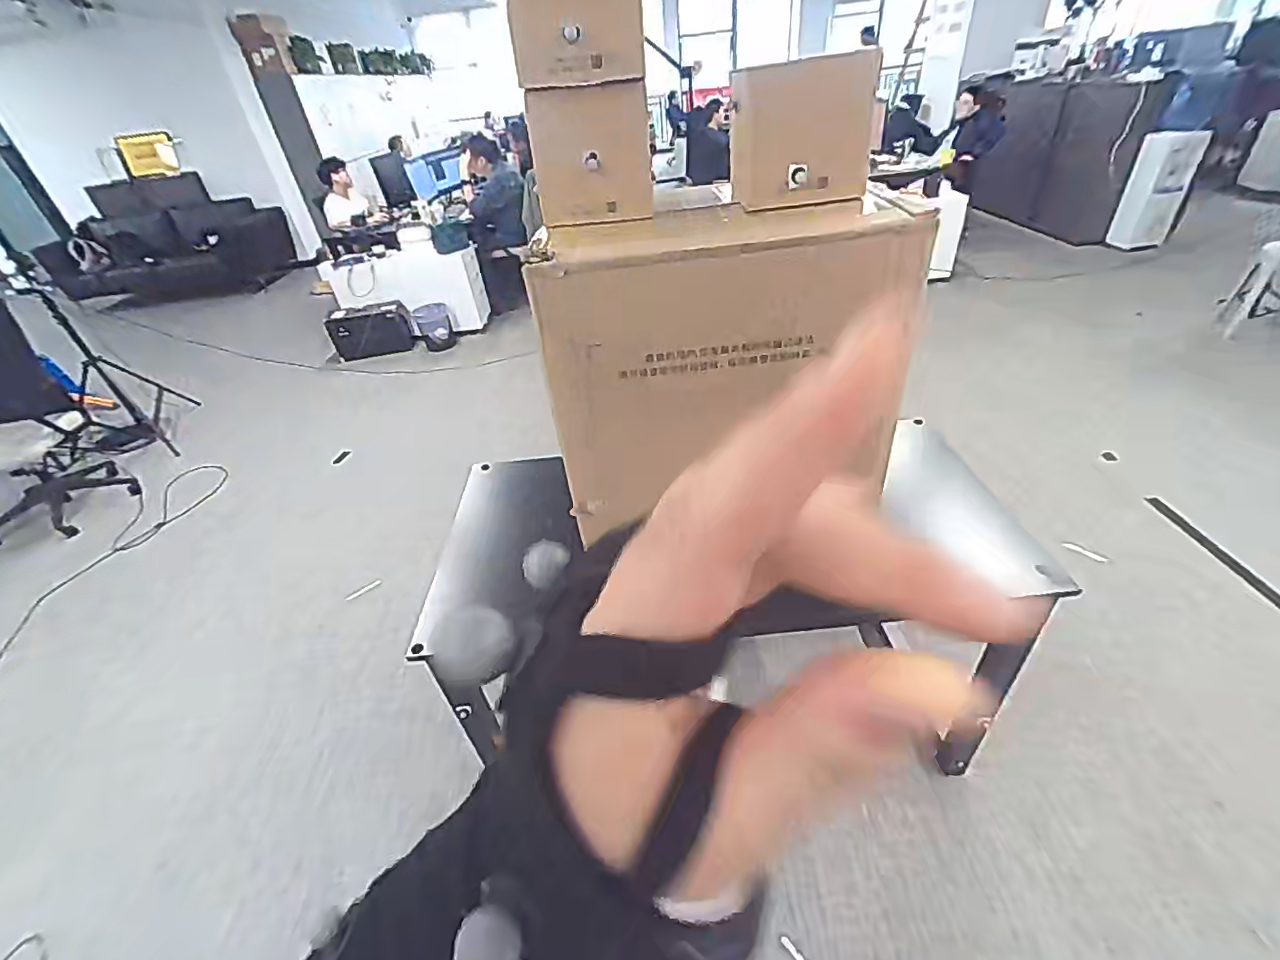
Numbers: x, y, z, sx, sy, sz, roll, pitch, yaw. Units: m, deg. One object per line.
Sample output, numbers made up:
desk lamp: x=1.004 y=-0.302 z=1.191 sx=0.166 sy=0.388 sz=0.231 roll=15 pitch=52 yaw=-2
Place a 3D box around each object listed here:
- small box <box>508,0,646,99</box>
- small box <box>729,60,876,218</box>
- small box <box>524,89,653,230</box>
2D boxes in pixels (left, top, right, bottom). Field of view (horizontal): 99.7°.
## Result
small box: x=-0.080 y=-0.613 z=0.717 sx=0.168 sy=0.176 sz=0.179 roll=-4 pitch=36 yaw=2
small box: x=0.222 y=-0.492 z=0.788 sx=0.168 sy=0.176 sz=0.179 roll=-6 pitch=36 yaw=4
small box: x=-0.070 y=-0.489 z=0.828 sx=0.168 sy=0.176 sz=0.179 roll=-5 pitch=37 yaw=0
